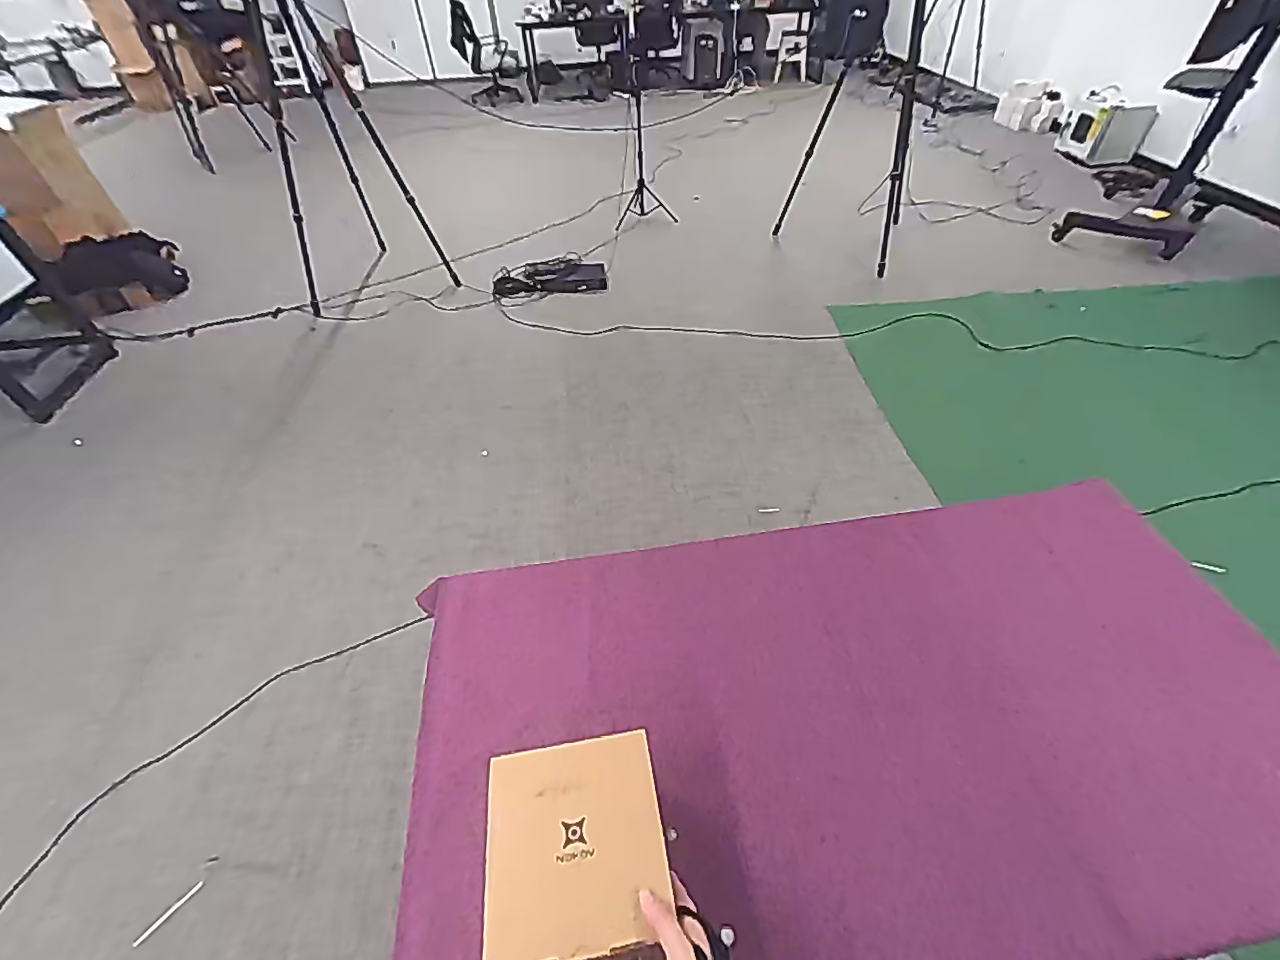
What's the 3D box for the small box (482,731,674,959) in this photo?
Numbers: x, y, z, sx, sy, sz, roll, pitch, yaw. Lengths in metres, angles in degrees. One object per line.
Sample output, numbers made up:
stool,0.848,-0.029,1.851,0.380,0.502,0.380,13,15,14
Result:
small box,-0.058,0.394,0.563,0.168,0.176,0.179,-7,43,-5
